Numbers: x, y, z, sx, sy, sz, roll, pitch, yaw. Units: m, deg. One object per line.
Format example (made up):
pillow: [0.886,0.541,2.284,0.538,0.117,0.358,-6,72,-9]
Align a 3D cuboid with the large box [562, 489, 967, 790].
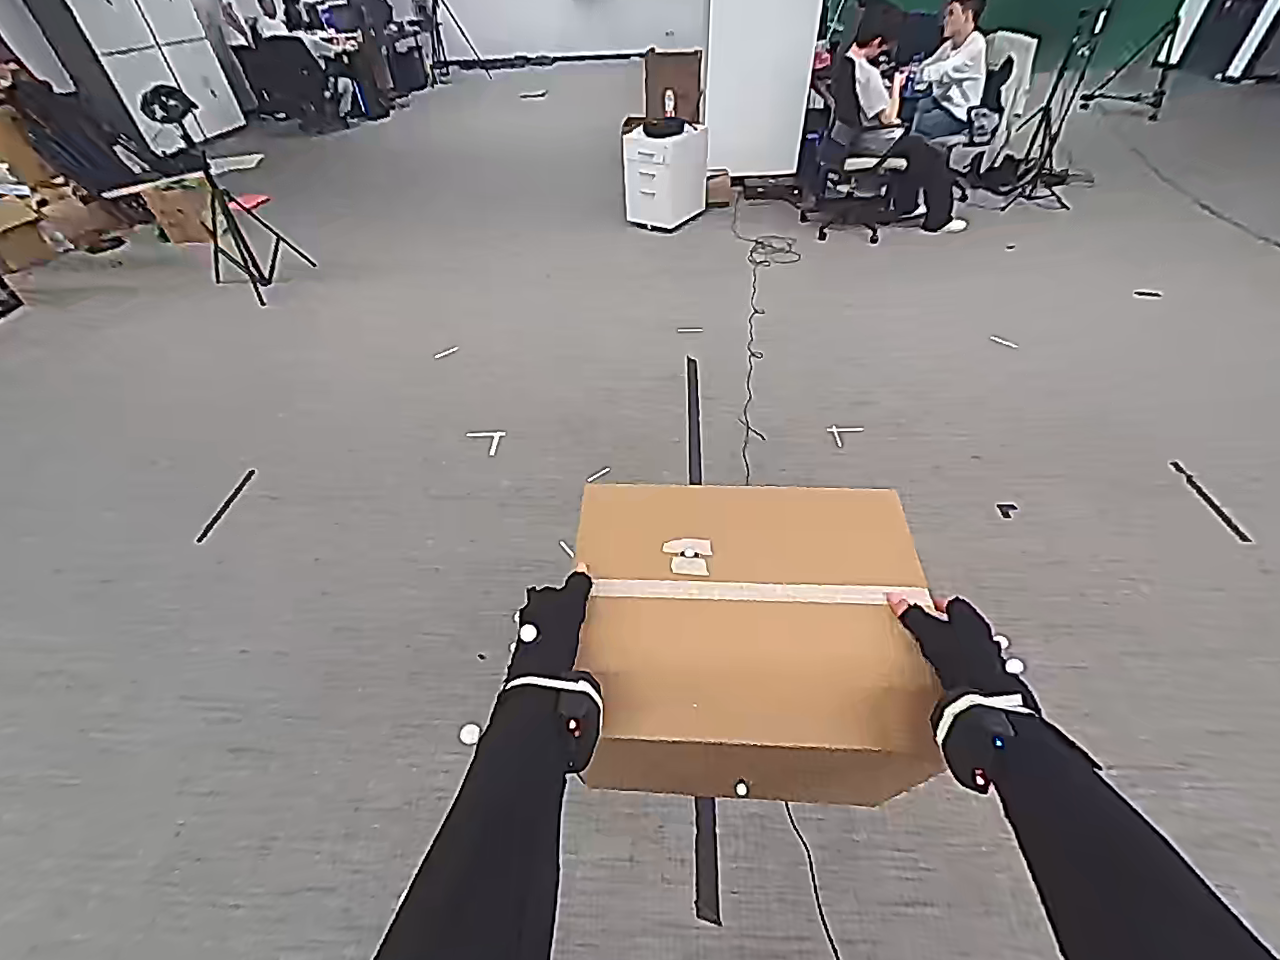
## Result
large box: [0.134,0.224,0.738,0.408,0.320,0.320,1,51,4]
